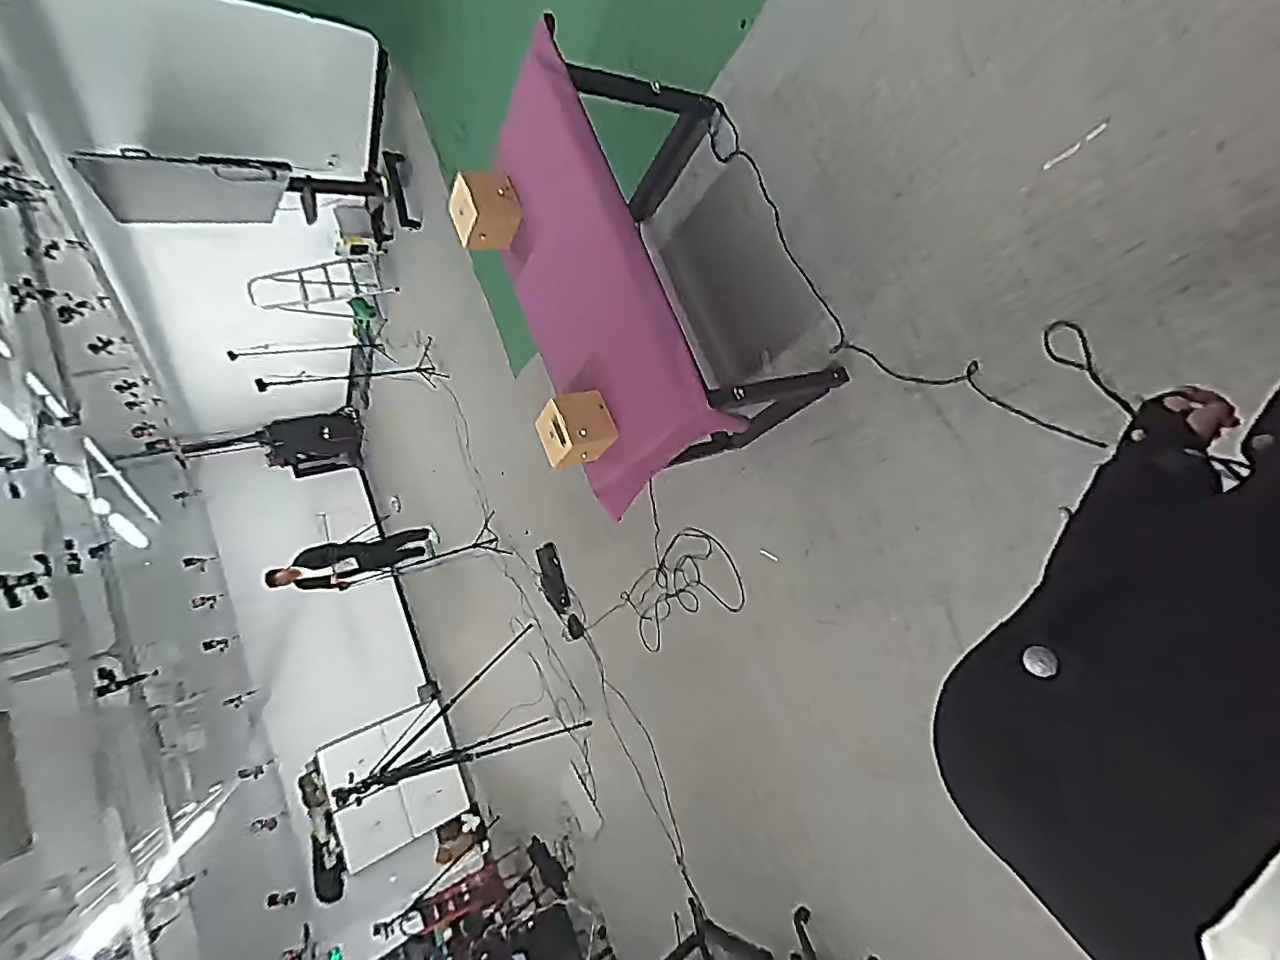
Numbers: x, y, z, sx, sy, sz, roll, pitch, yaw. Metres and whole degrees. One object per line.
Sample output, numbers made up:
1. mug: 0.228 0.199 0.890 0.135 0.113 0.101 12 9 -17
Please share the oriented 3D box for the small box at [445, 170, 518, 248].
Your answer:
1. small box: -0.535 -0.911 1.831 0.179 0.176 0.168 -32 80 54
